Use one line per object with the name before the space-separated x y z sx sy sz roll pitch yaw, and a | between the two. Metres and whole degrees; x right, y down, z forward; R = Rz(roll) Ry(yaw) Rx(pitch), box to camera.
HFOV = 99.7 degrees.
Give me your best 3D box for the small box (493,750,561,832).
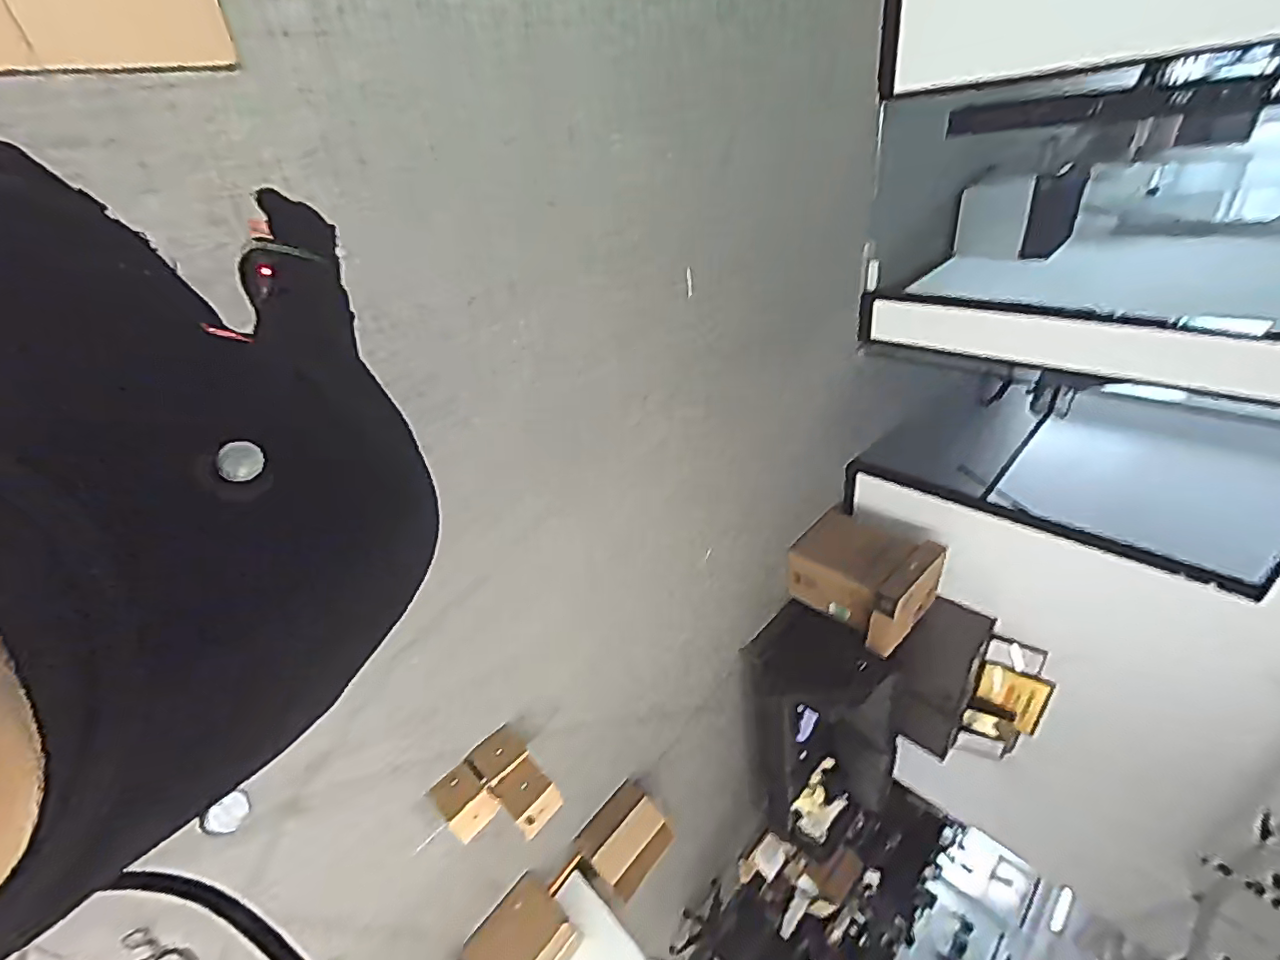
small box | -0.438 1.186 2.069 0.179 0.176 0.168 -38 134 -31
